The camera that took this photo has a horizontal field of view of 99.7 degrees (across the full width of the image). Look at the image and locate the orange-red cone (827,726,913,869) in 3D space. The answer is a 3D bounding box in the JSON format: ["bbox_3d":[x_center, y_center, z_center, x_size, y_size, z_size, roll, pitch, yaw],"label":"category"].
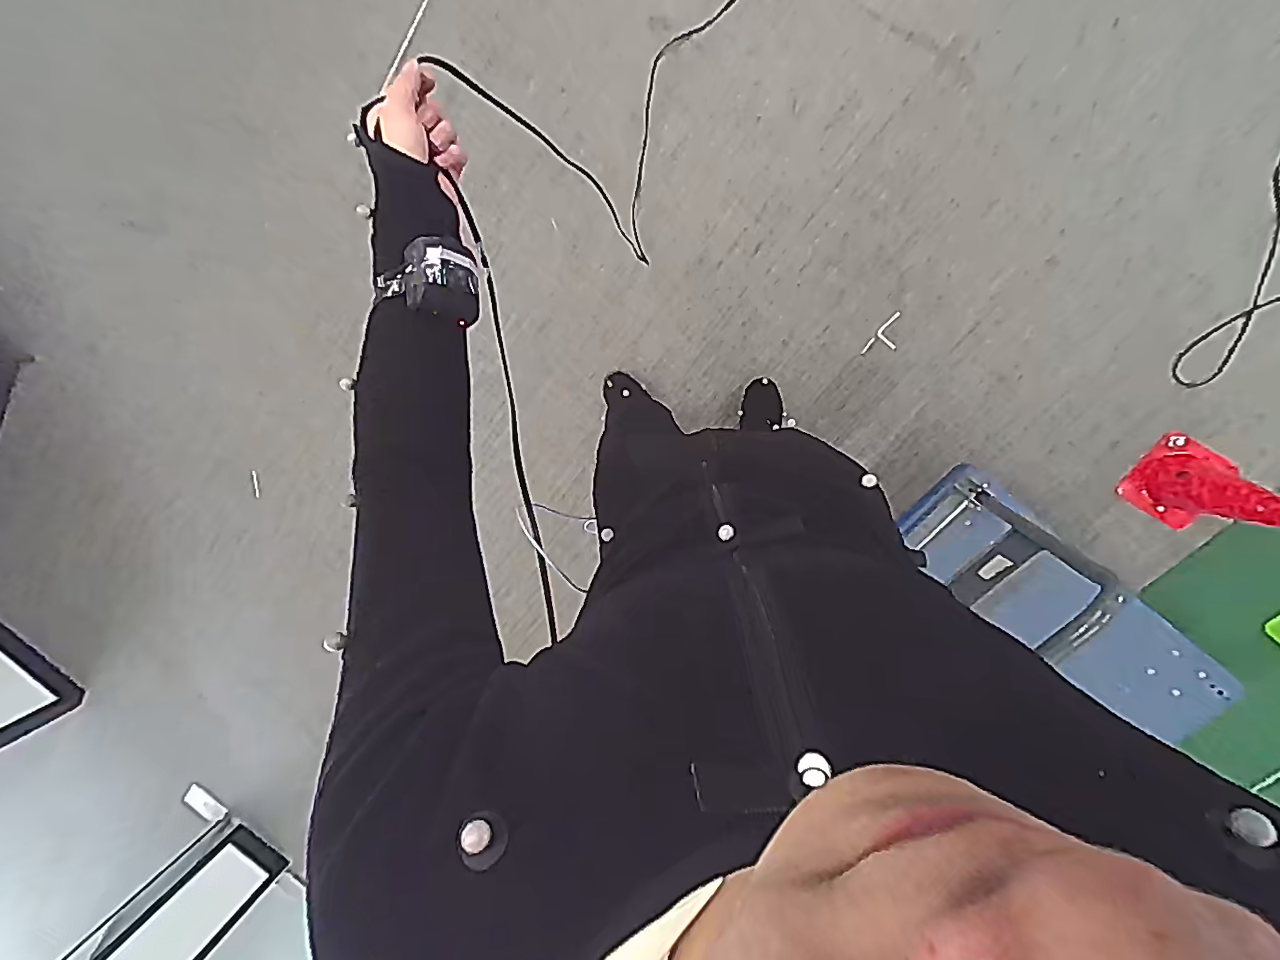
[{"bbox_3d":[0.680,0.912,1.512,0.199,0.360,0.198,40,108,-1],"label":"orange-red cone"}]
